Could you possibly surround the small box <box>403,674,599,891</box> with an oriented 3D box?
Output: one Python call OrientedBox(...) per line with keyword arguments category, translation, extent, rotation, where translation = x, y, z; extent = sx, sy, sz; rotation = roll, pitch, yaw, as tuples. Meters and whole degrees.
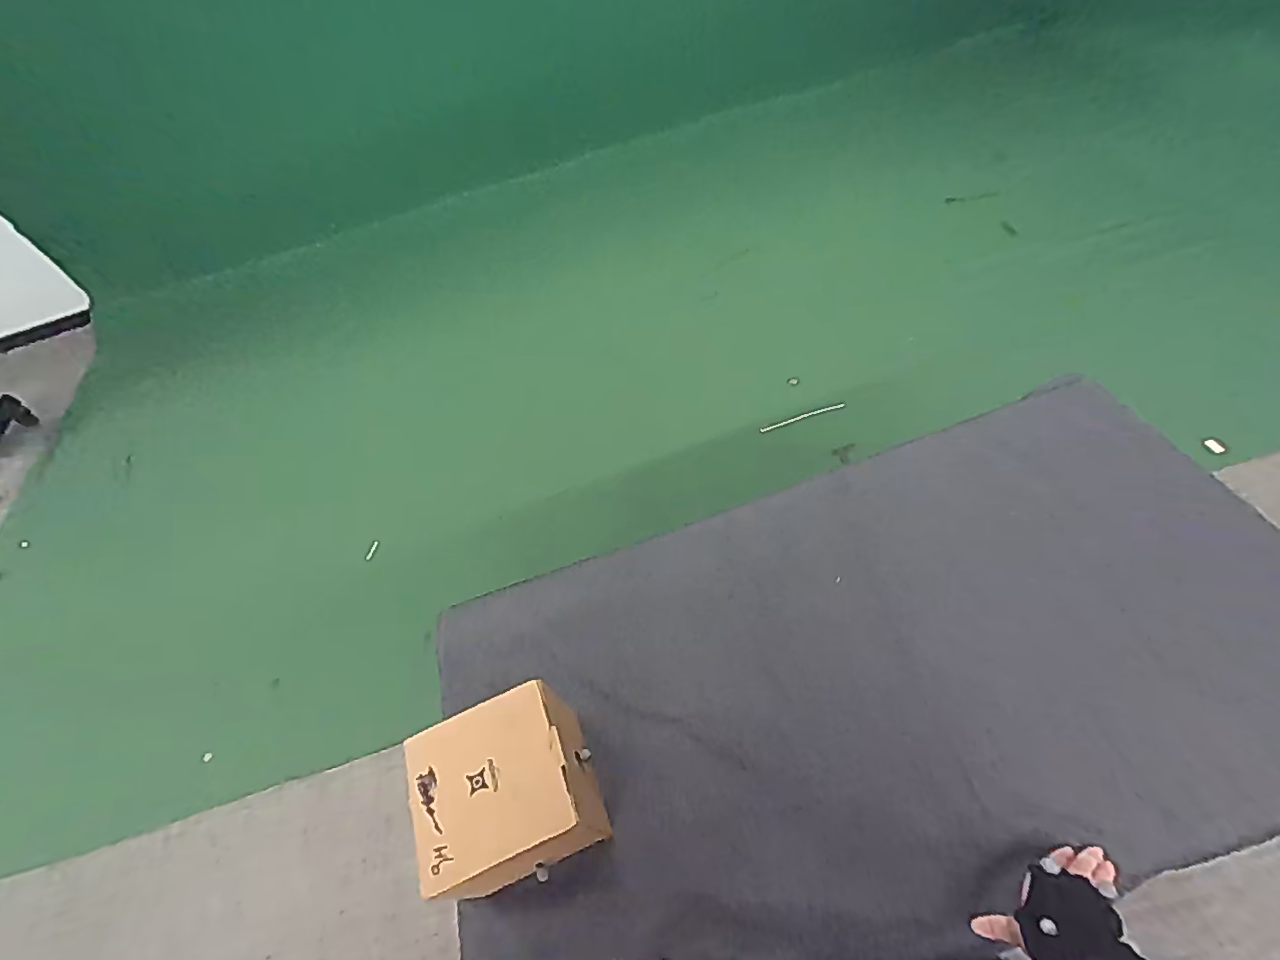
OrientedBox(category="small box", translation=(-0.159, 0.368, 0.662), extent=(0.179, 0.176, 0.168), rotation=(-23, 53, -5))
